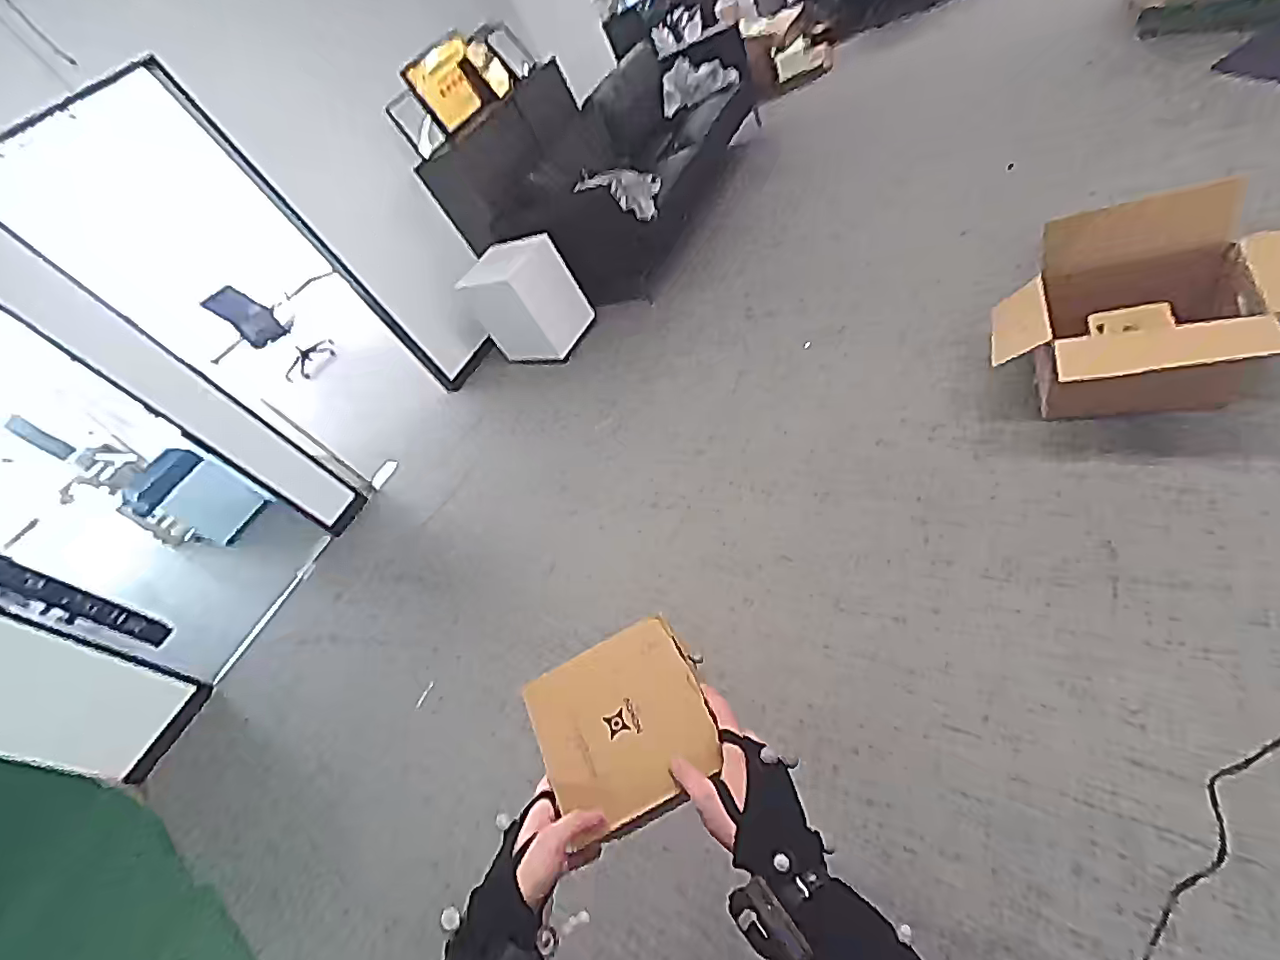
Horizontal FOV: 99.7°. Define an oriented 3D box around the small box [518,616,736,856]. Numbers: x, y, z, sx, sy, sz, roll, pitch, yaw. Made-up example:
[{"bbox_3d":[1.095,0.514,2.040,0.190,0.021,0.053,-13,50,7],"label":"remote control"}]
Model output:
[{"bbox_3d":[-0.005,0.282,0.599,0.179,0.176,0.168,-28,55,-1],"label":"small box"}]
